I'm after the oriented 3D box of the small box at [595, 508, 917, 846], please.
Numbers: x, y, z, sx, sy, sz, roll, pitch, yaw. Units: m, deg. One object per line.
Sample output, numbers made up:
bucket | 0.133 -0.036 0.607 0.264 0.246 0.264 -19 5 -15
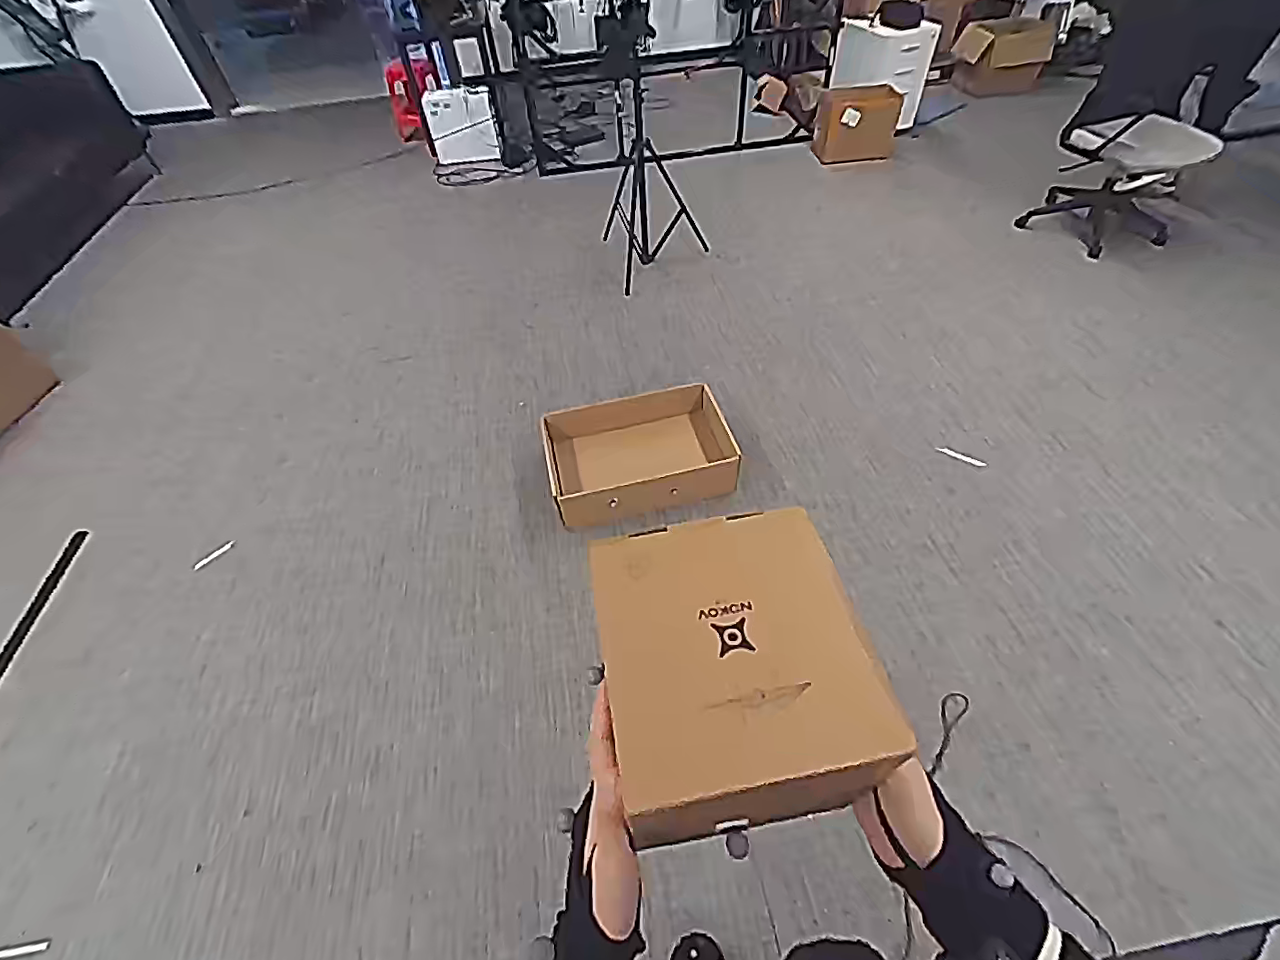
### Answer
small box | 0.063 0.149 0.408 0.168 0.176 0.179 -10 51 -5
